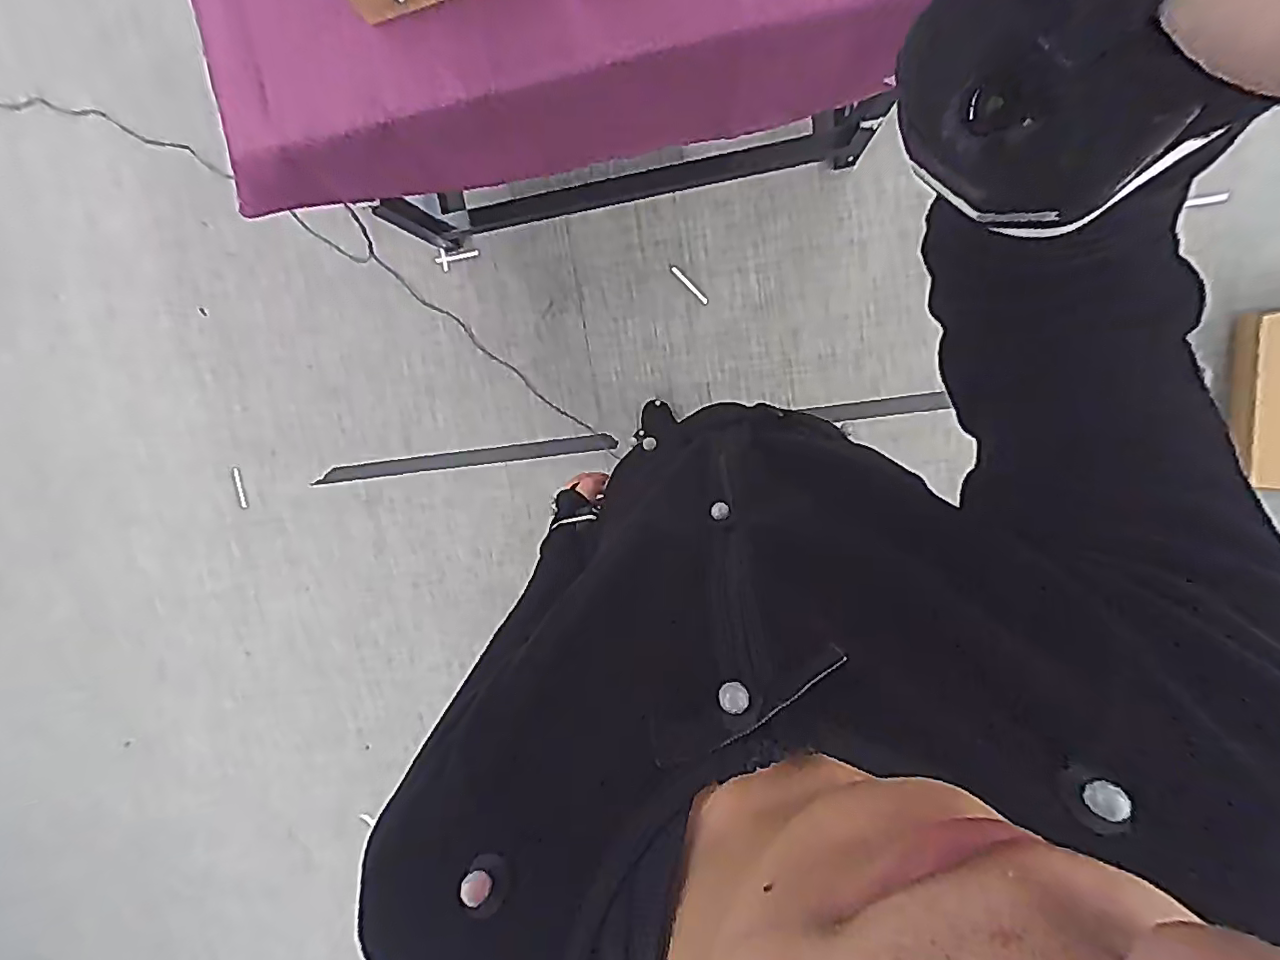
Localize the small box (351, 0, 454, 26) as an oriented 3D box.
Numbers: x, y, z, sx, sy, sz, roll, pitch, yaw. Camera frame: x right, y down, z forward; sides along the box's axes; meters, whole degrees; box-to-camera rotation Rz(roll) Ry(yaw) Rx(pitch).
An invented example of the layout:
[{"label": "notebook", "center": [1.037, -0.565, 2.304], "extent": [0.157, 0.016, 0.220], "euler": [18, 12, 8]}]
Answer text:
[{"label": "small box", "center": [-0.370, -0.789, 0.741], "extent": [0.168, 0.176, 0.179], "euler": [-12, 99, 9]}]
